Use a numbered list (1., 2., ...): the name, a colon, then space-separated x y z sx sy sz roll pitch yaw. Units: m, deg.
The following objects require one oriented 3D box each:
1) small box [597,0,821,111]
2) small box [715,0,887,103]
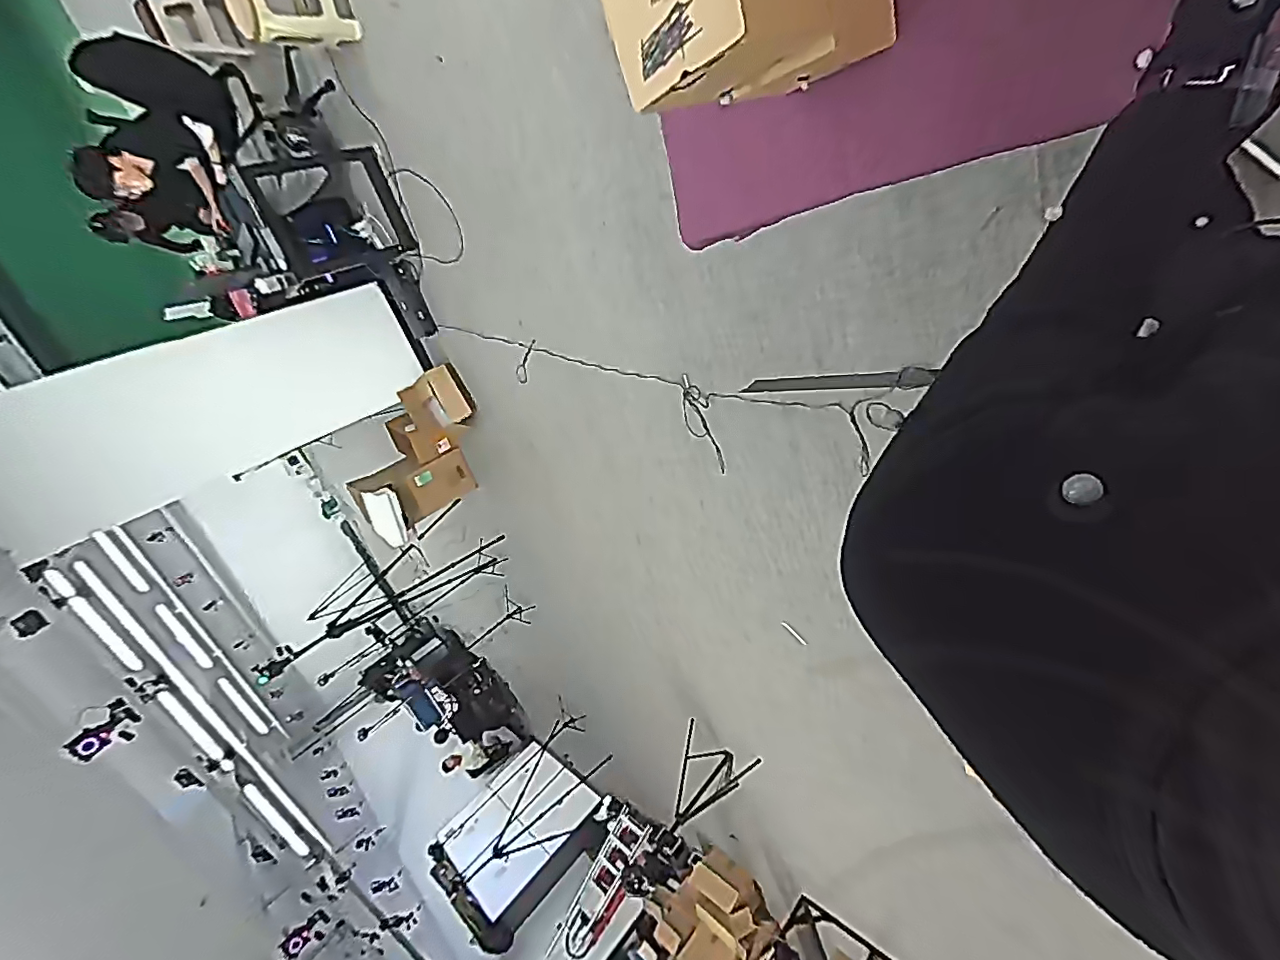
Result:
1. small box: 0.071 -0.534 0.577 0.168 0.176 0.179 5 123 48
2. small box: 0.188 -0.605 0.669 0.168 0.176 0.179 10 127 46
